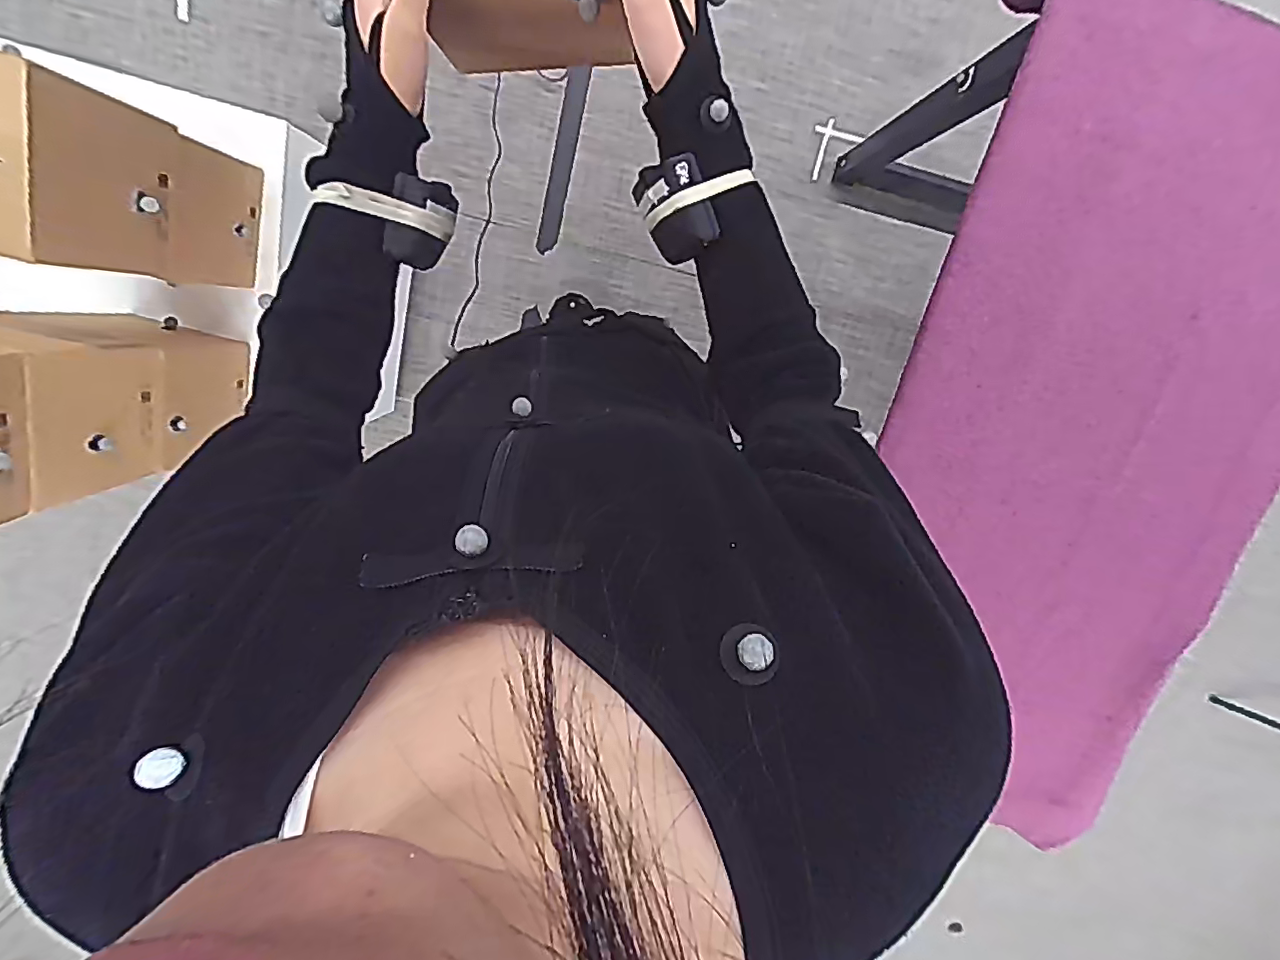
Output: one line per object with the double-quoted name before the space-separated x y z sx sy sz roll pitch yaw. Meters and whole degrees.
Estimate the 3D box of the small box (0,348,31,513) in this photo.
"small box" -0.667 -0.038 0.432 0.179 0.176 0.168 12 106 -7

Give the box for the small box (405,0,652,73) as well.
"small box" -0.078 -0.418 0.380 0.179 0.176 0.168 -2 106 1

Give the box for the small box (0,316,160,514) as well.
"small box" -0.674 -0.081 0.589 0.179 0.176 0.168 12 105 -6

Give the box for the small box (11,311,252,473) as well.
"small box" -0.684 -0.126 0.744 0.179 0.176 0.168 14 106 -6

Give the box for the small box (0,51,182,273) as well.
"small box" -0.604 -0.310 0.524 0.179 0.176 0.168 15 106 -8
